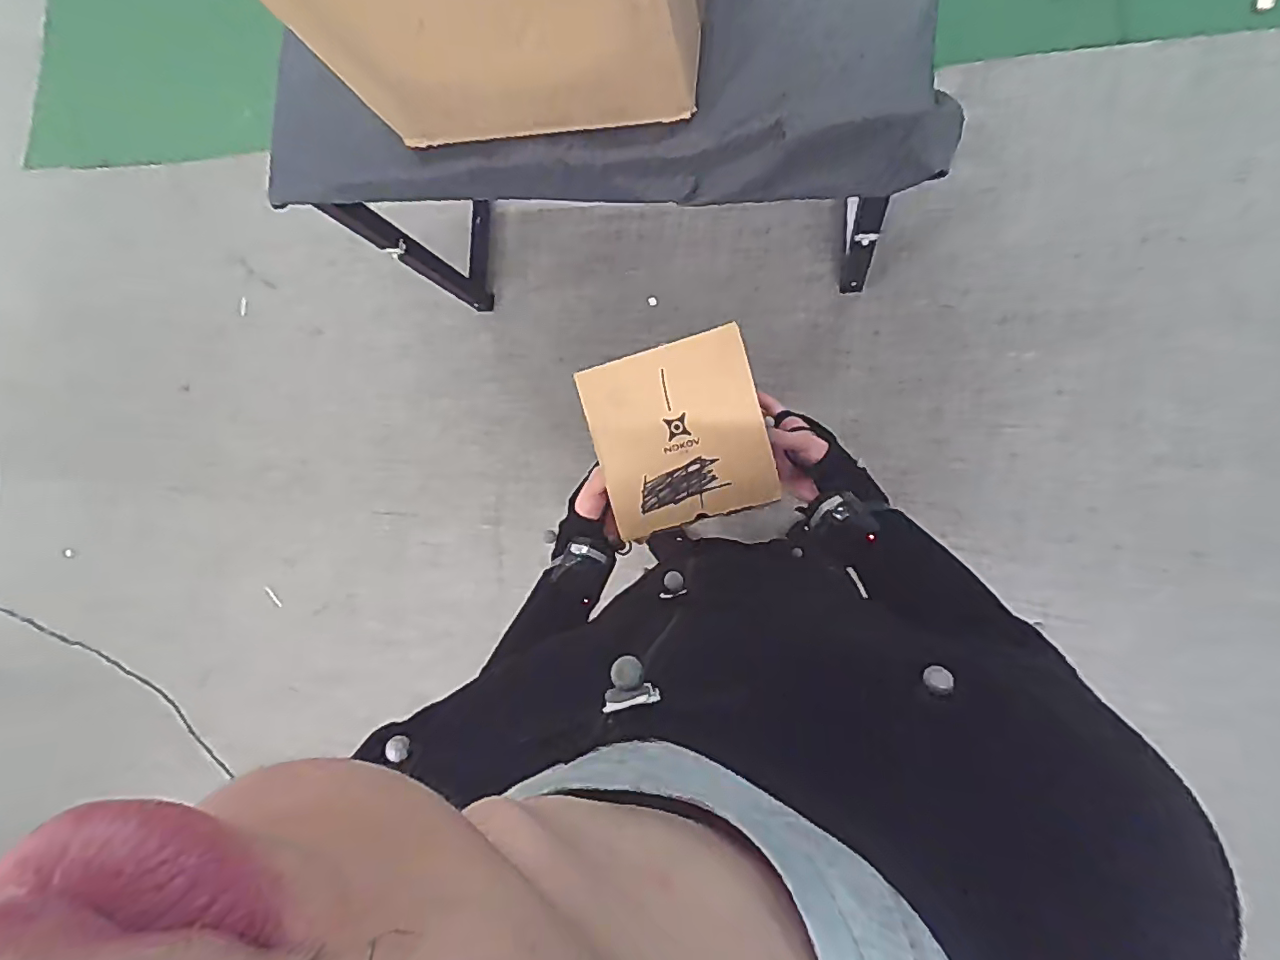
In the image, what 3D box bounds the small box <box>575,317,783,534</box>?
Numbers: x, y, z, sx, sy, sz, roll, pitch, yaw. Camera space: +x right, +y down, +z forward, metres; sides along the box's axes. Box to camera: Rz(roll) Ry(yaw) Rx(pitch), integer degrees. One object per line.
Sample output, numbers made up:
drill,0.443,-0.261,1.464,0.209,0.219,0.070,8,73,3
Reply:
small box,0.048,-0.059,0.597,0.168,0.176,0.179,-16,94,8
